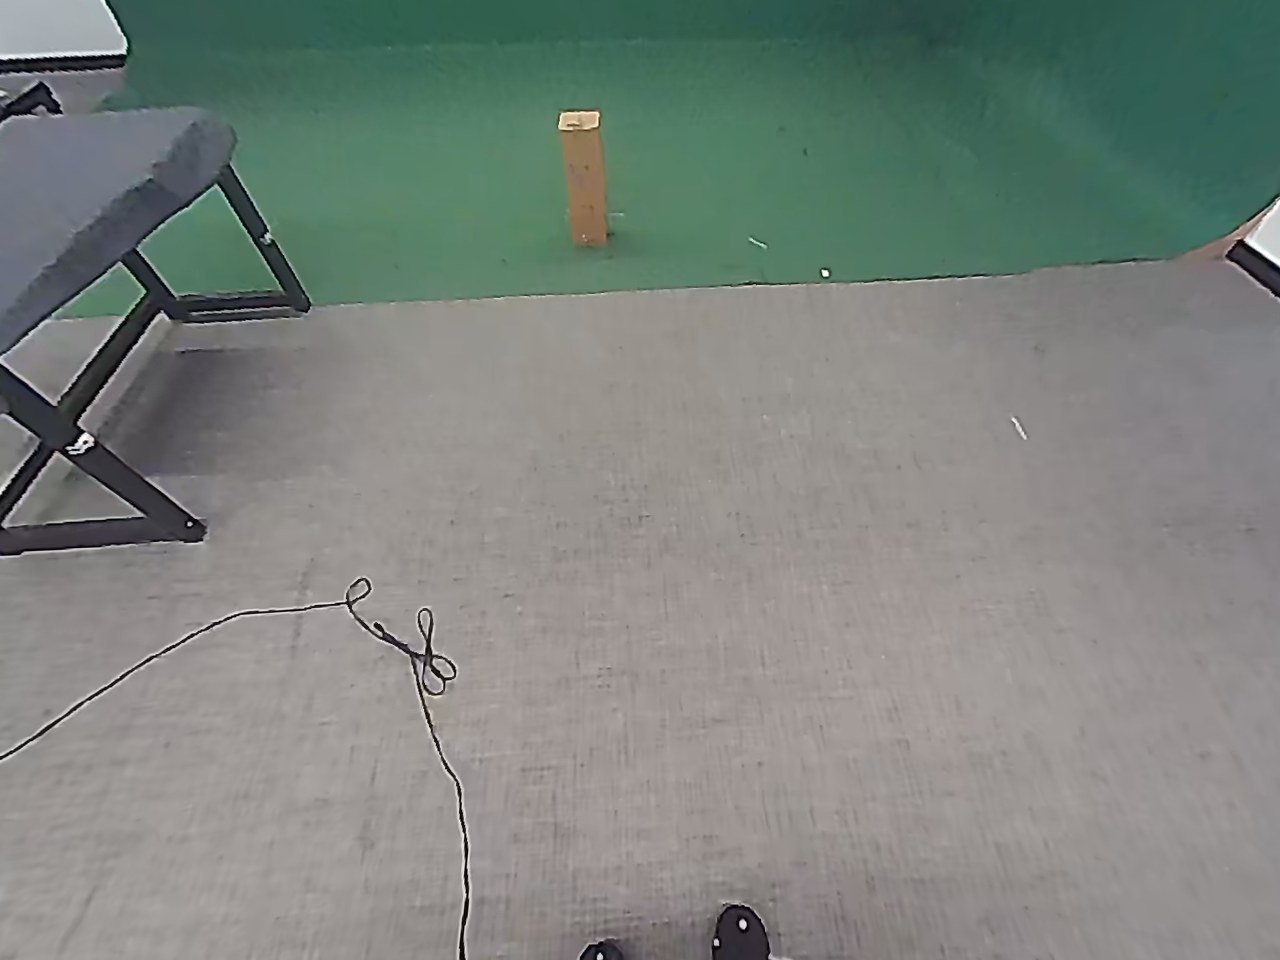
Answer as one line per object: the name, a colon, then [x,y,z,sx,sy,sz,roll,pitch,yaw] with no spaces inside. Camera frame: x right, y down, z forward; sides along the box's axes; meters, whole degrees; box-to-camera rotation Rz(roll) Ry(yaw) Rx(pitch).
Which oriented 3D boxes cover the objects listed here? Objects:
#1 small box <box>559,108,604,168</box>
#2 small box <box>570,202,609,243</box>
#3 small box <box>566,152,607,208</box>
small box: [-0.243,-1.446,2.292,0.168,0.176,0.179,-1,53,1]
small box: [-0.235,-1.244,2.551,0.168,0.176,0.179,-2,55,1]
small box: [-0.235,-1.344,2.422,0.168,0.176,0.179,-1,53,1]
